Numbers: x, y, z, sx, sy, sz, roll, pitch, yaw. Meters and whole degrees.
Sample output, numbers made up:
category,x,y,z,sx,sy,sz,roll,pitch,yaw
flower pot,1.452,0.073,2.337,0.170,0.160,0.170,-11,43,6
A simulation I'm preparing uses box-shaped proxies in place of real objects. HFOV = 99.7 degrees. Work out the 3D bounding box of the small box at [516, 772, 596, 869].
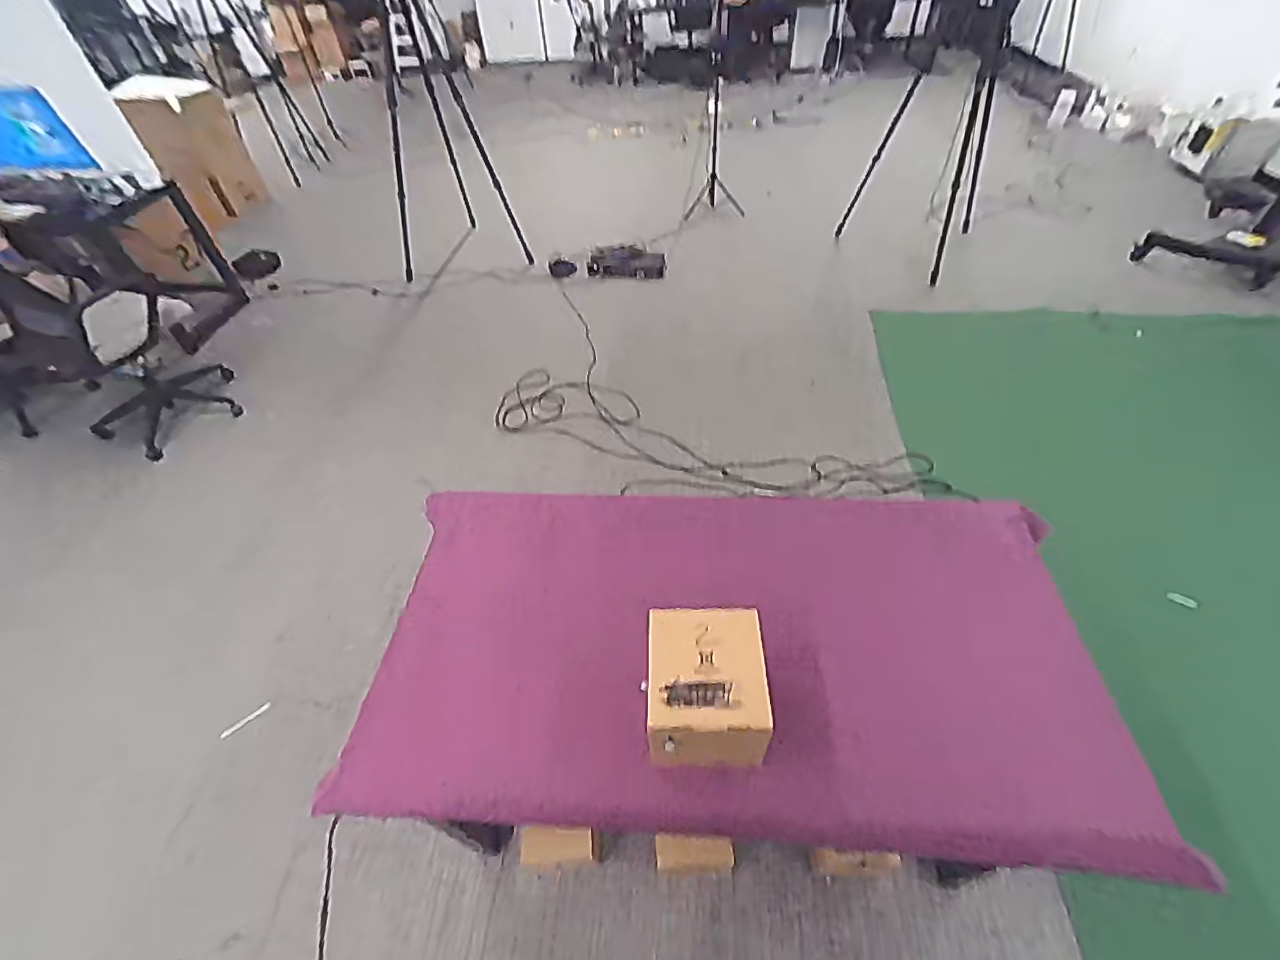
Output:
category,x,y,z,sx,sy,sz,roll,pitch,yaw
small box,-0.199,0.839,1.327,0.168,0.176,0.179,-5,47,-1

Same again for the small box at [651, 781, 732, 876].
category,x,y,z,sx,sy,sz,roll,pitch,yaw
small box,0.118,0.842,1.306,0.179,0.176,0.168,-4,46,1

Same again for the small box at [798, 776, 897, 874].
category,x,y,z,sx,sy,sz,roll,pitch,yaw
small box,0.486,0.828,1.294,0.168,0.176,0.179,-1,47,3
